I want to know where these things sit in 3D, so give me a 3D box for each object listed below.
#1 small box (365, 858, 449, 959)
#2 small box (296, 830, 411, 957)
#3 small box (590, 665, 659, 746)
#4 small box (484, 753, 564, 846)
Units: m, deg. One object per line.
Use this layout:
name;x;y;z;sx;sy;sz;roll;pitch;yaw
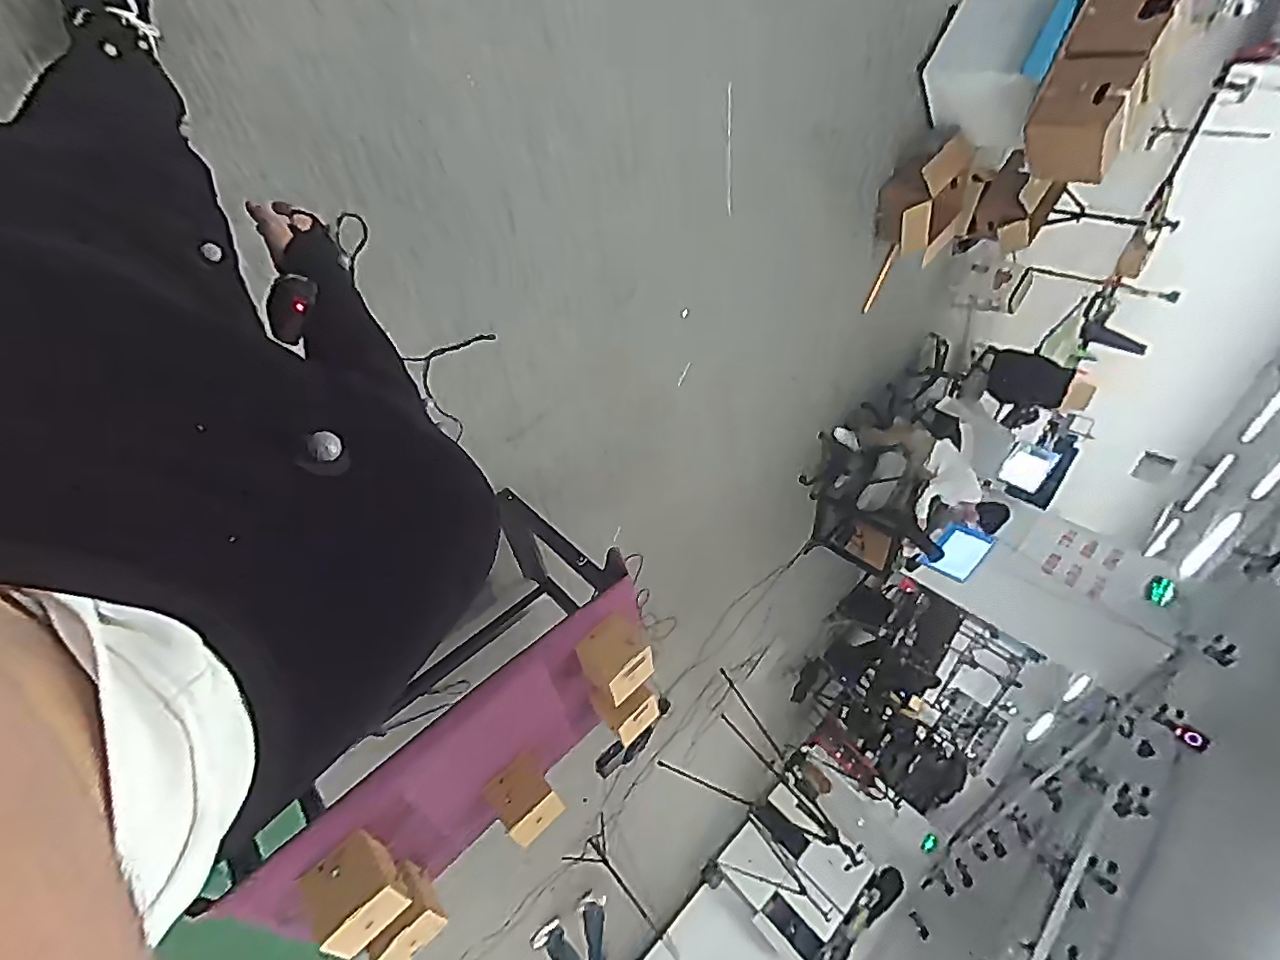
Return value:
small box;-0.674;1.209;1.515;0.168;0.176;0.179;-35;138;-26
small box;-0.699;1.005;1.324;0.168;0.176;0.179;-34;139;-29
small box;-0.056;0.777;1.885;0.168;0.176;0.179;-36;140;-24
small box;-0.368;1.001;1.707;0.168;0.176;0.179;-35;139;-25
